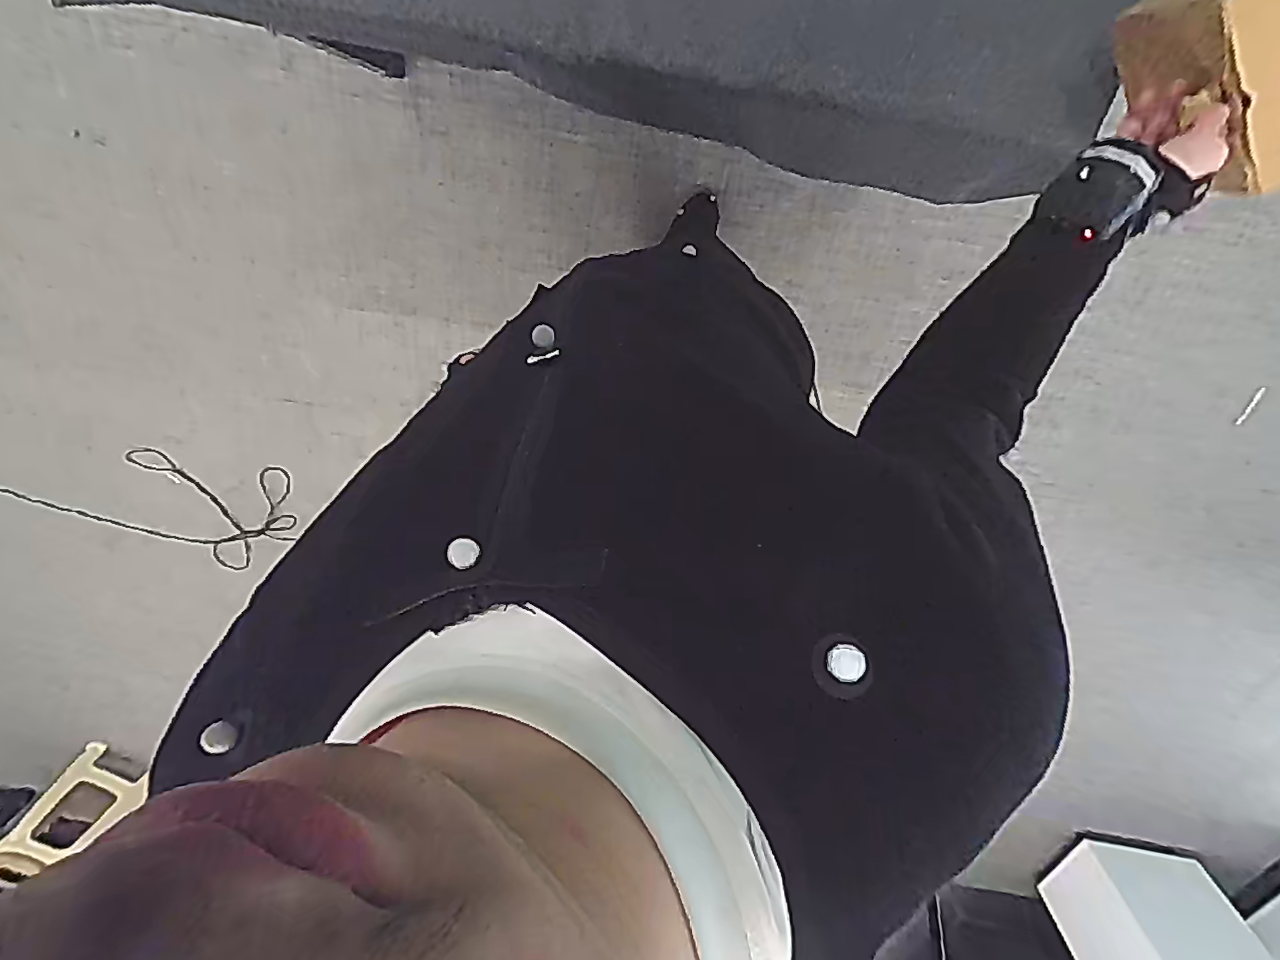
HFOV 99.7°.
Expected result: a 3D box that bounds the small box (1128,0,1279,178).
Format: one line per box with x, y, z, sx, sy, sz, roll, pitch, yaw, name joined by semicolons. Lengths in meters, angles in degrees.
0.549;-0.383;0.439;0.179;0.176;0.168;-28;114;28;small box
